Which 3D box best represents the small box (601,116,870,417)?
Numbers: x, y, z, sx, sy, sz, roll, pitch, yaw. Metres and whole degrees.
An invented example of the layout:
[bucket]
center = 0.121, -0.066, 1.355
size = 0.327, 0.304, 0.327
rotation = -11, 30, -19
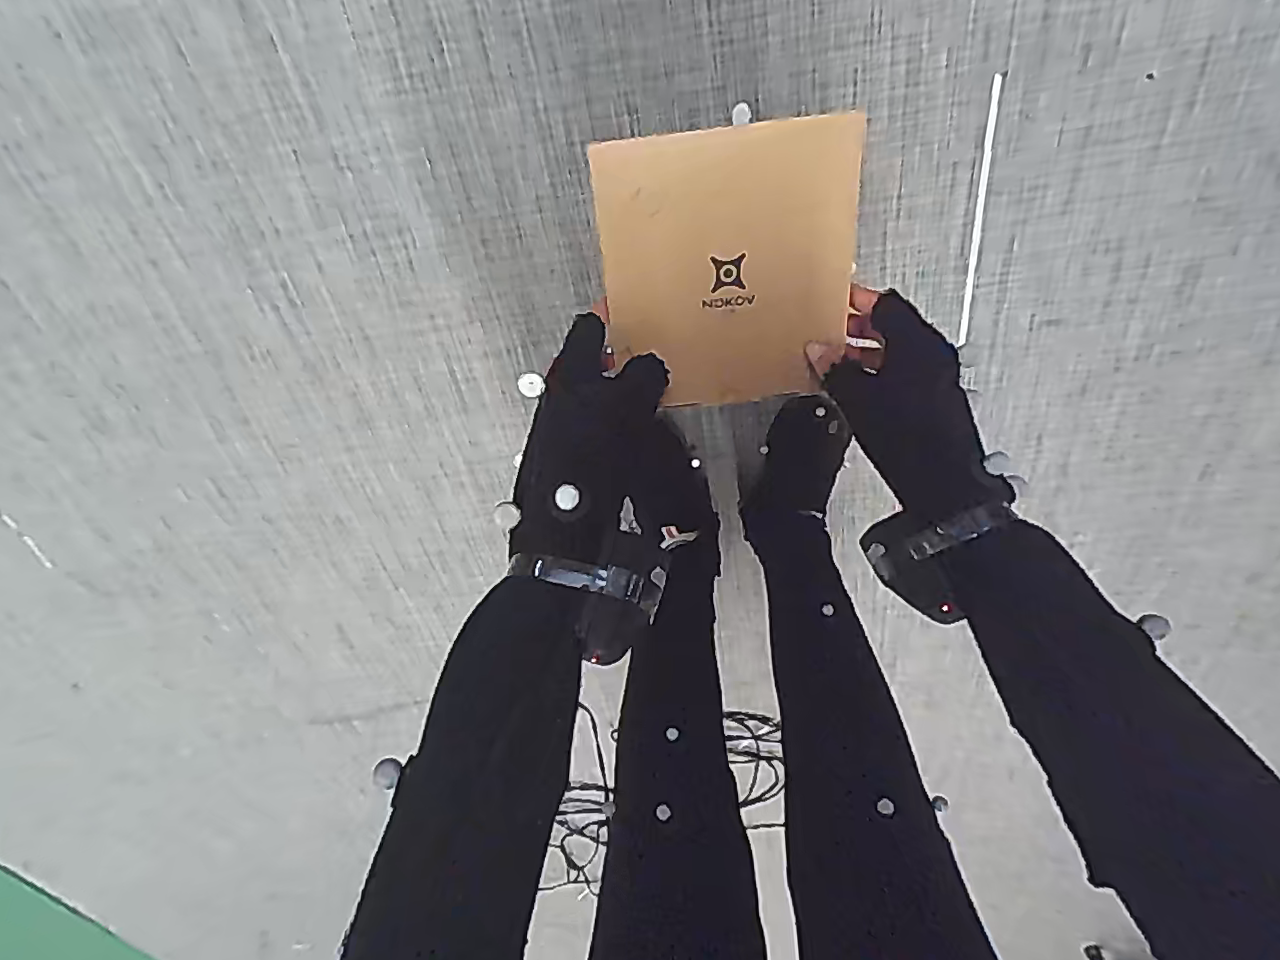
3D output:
[small box]
center = 0.060, -0.167, 0.427
size = 0.168, 0.176, 0.179
rotation = -5, 120, 2
